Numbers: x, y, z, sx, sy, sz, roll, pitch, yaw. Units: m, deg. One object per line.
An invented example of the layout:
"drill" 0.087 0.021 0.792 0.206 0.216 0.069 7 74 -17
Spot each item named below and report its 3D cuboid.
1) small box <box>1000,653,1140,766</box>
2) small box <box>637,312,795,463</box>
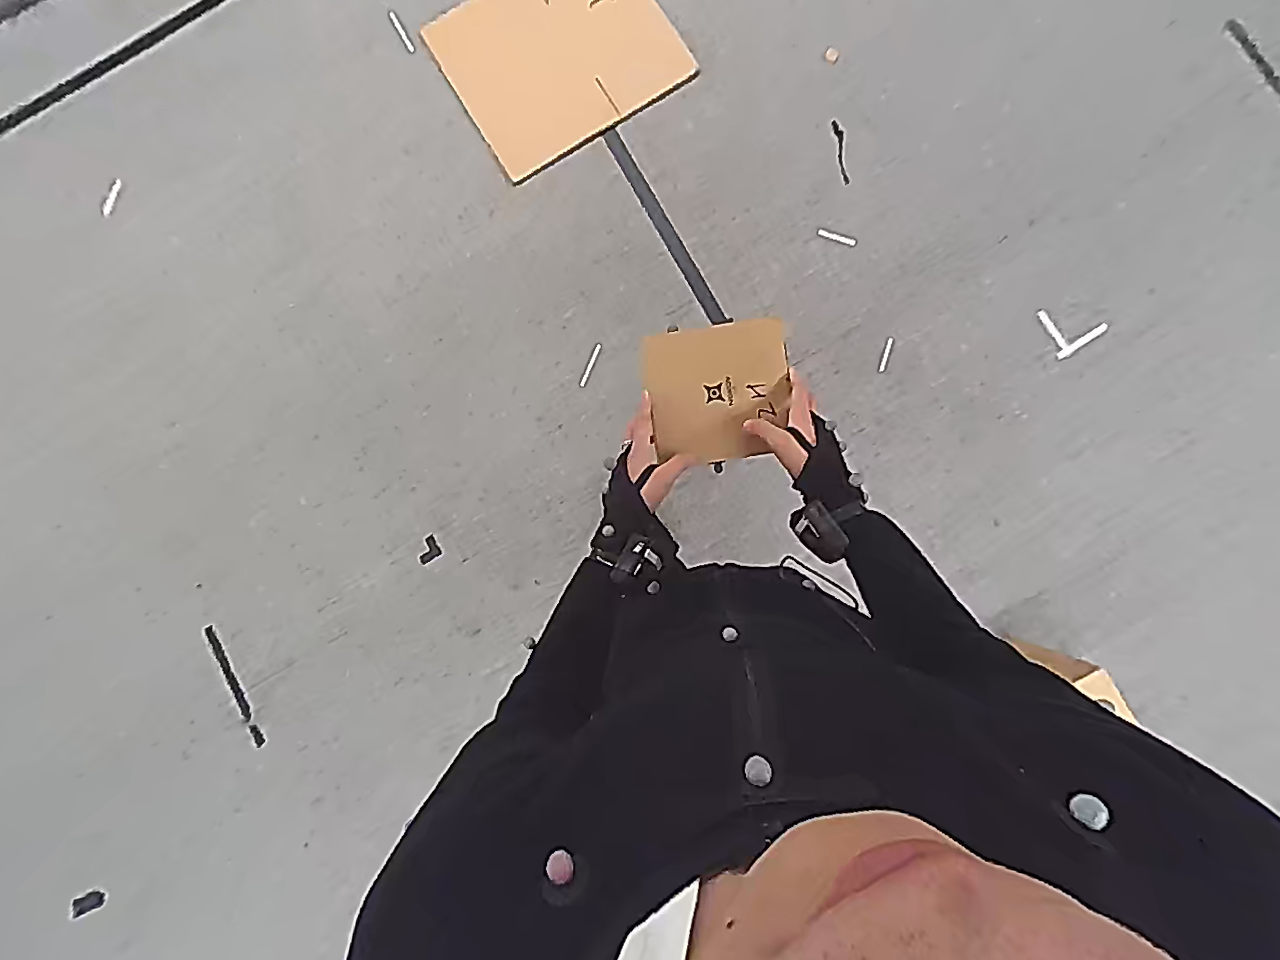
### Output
"small box" 1.047 0.555 1.332 0.168 0.176 0.179 -28 85 -1
"small box" 0.092 -0.114 0.734 0.179 0.176 0.168 -9 92 -1
